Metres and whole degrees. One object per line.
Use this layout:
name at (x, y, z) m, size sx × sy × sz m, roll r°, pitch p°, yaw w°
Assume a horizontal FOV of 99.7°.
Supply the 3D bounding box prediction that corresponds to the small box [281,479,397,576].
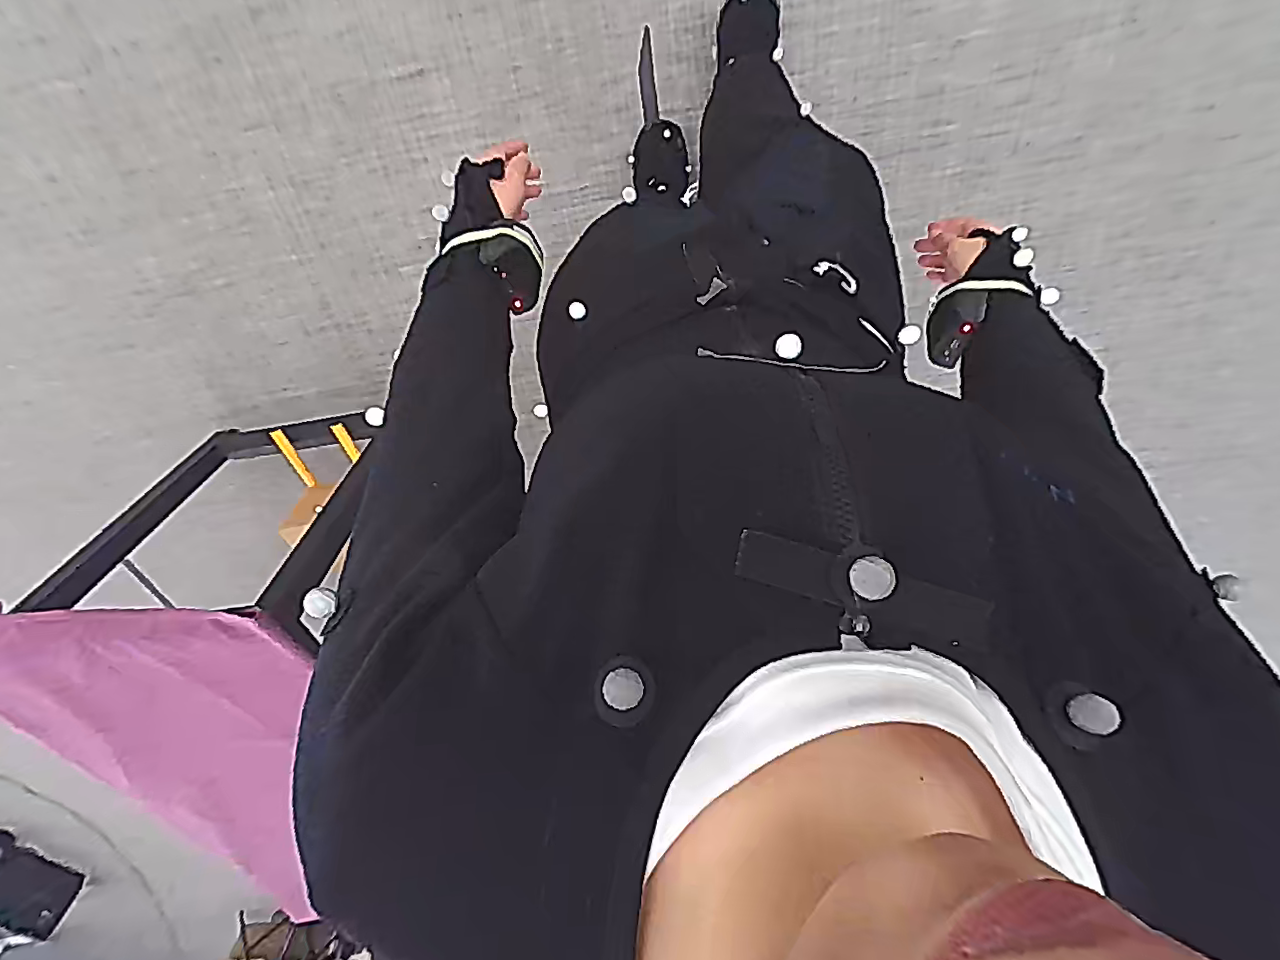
small box at (-0.761, 0.119, 1.390) m, size 0.179 × 0.176 × 0.168 m, roll -10°, pitch 128°, yaw 4°
